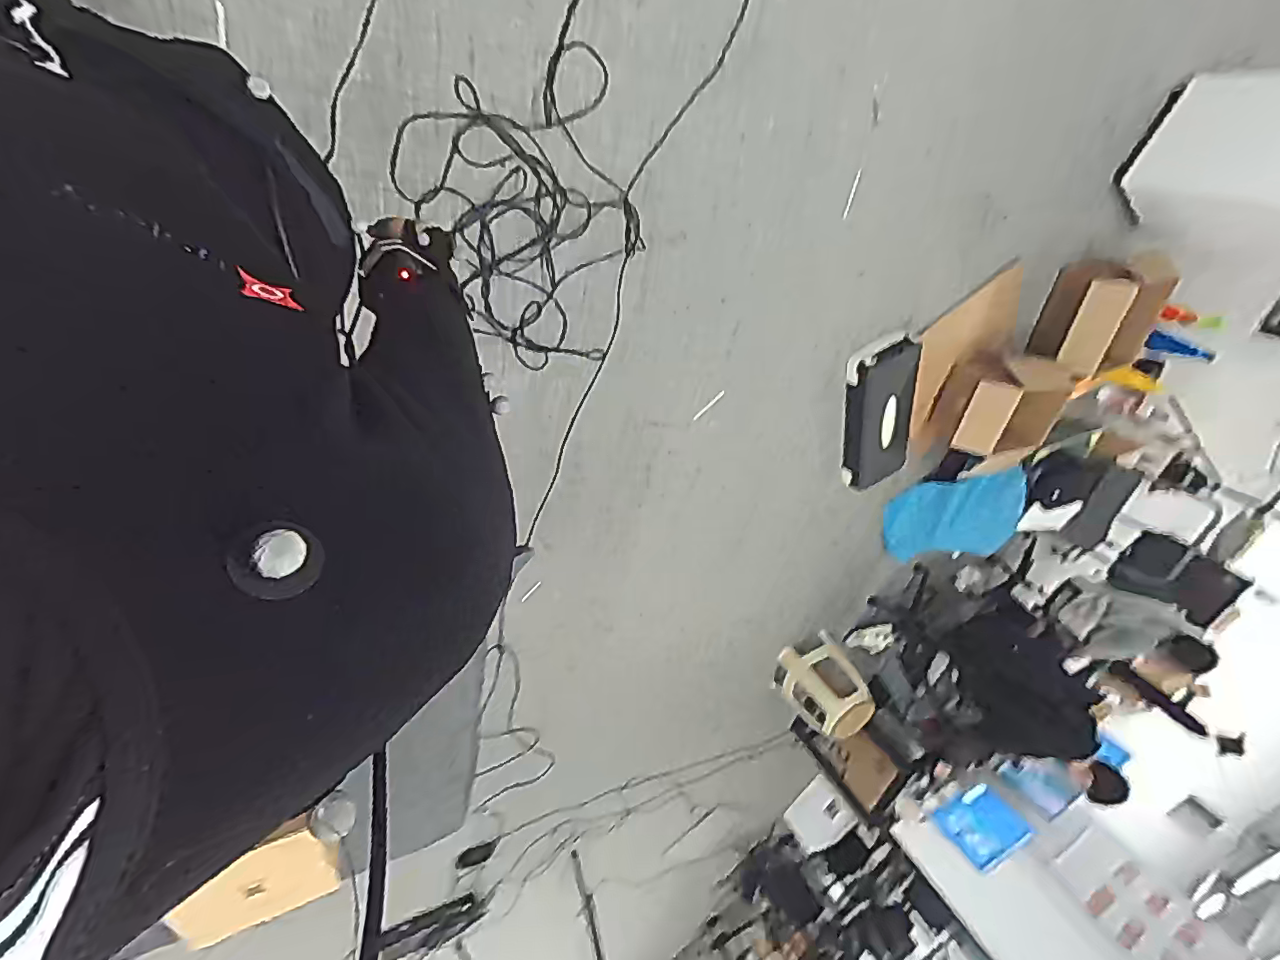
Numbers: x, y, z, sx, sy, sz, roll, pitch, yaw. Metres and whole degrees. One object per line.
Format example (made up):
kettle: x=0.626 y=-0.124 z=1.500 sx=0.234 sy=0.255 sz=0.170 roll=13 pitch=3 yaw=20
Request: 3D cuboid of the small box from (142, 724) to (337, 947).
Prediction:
small box: x=-0.516 y=0.456 z=0.721 sx=0.168 sy=0.176 sz=0.179 roll=-11 pitch=128 yaw=-25
